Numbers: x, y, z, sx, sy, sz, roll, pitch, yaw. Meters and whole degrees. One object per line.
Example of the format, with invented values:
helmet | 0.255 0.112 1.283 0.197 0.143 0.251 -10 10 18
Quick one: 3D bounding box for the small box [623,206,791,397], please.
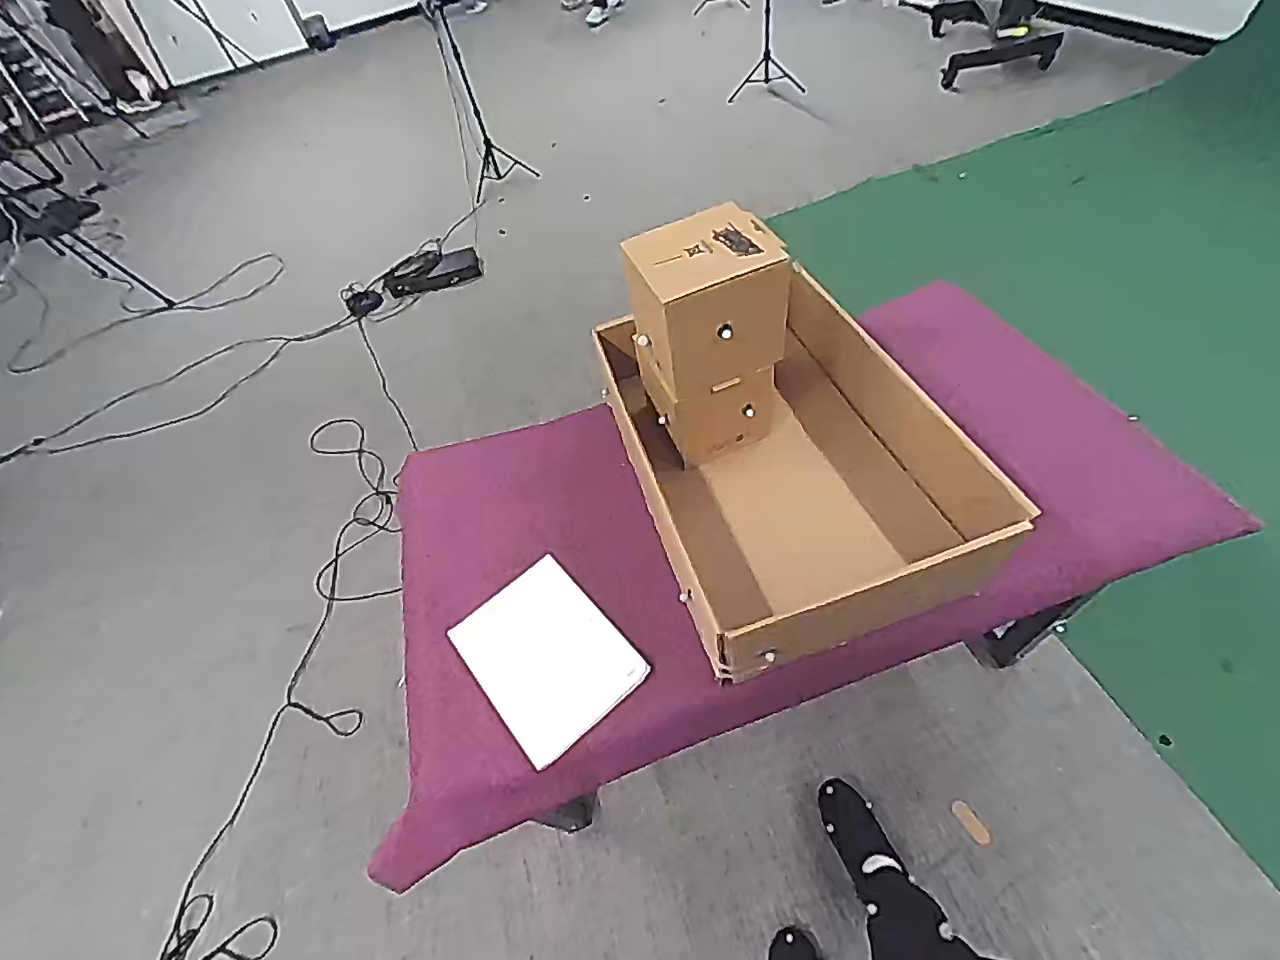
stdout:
small box | 0.092 -0.250 0.771 0.179 0.176 0.168 -22 53 -5
